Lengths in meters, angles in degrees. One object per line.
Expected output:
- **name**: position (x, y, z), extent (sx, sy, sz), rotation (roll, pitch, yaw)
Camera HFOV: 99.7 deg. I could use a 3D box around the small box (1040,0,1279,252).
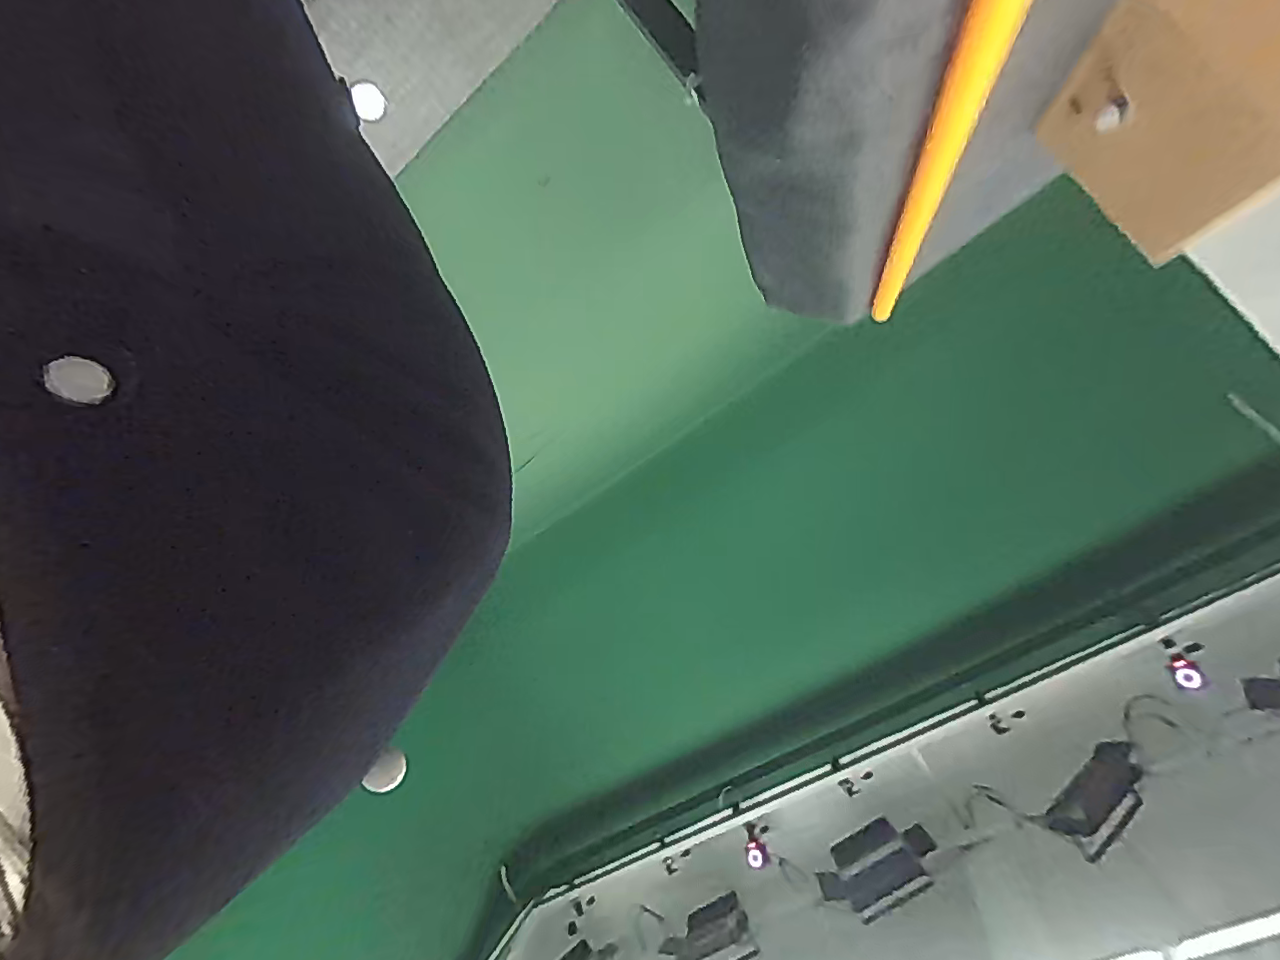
- **small box**: position (0.455, -0.316, 0.394), extent (0.179, 0.176, 0.168), rotation (-35, 169, 14)
